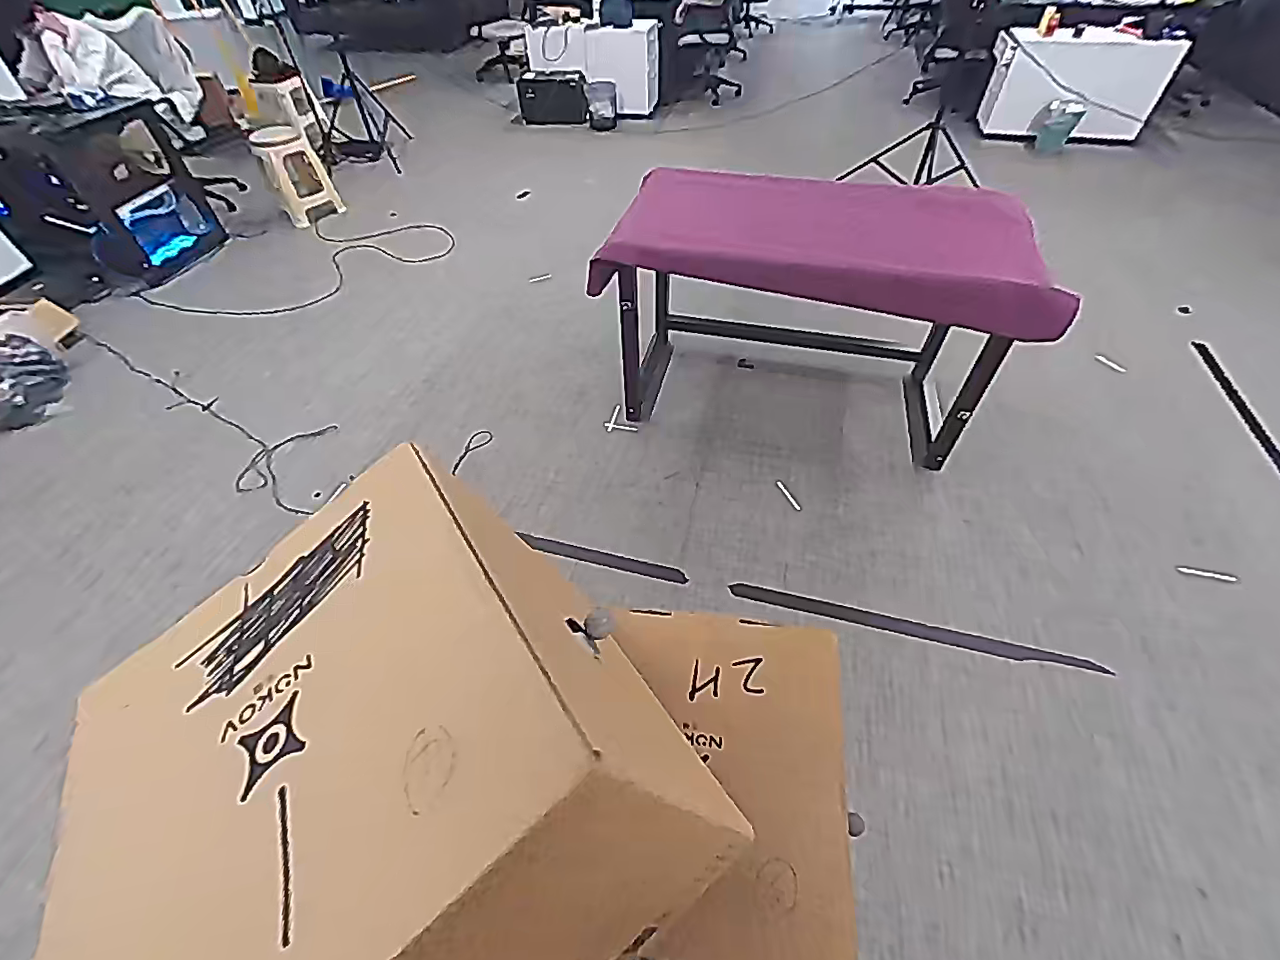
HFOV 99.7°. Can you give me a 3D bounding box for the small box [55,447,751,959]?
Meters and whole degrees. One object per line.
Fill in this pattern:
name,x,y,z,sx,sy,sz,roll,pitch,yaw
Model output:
small box,-0.081,0.124,0.234,0.168,0.176,0.179,-42,47,-7
